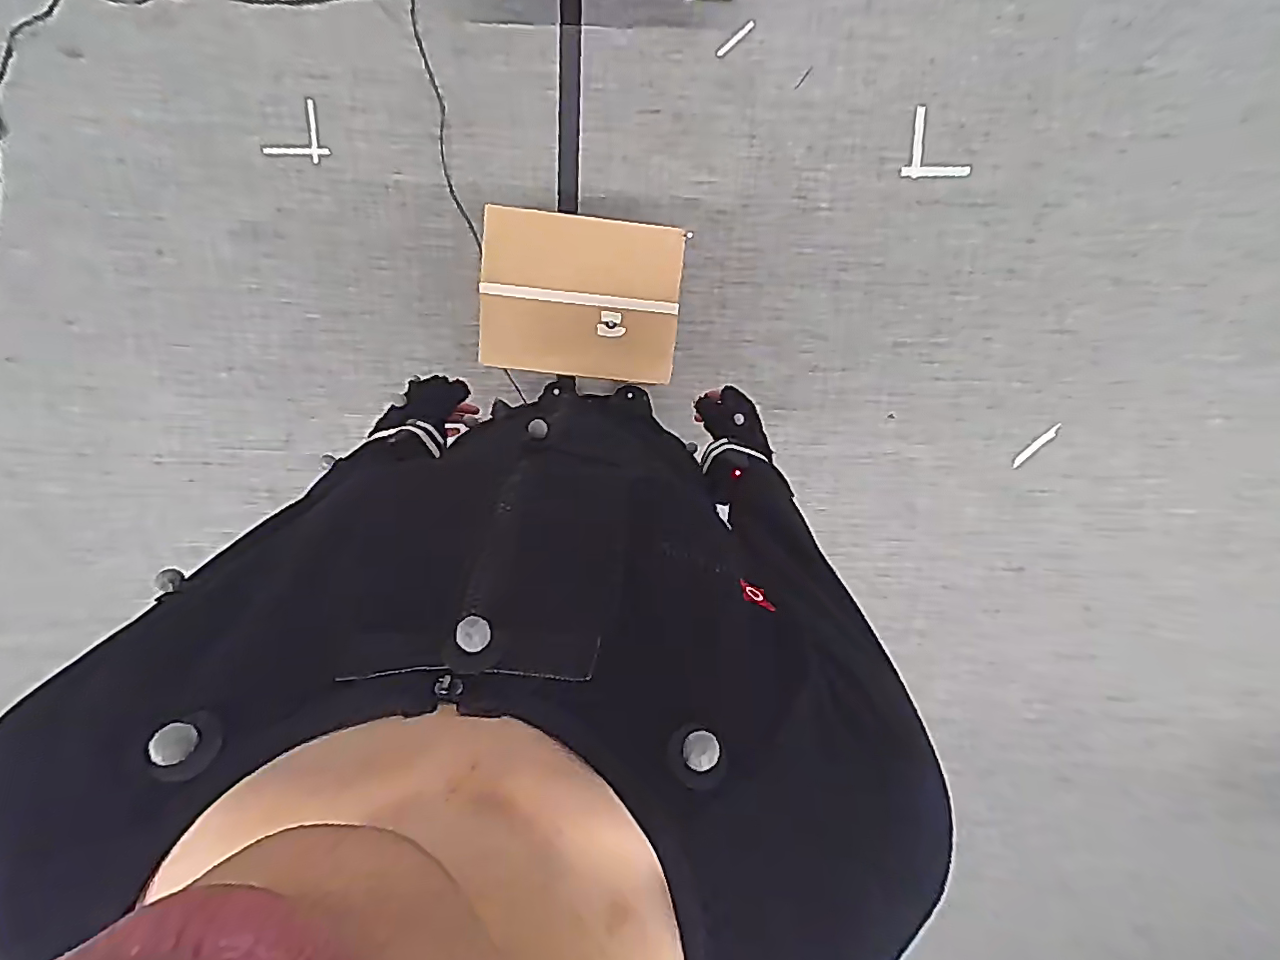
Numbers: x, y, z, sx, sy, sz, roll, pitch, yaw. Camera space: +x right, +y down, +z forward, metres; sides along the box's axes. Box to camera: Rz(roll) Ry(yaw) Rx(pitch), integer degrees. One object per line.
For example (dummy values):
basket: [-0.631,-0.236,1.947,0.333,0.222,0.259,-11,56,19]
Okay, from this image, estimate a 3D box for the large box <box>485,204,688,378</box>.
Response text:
large box: [-0.123,-0.408,1.248,0.408,0.320,0.320,5,102,-4]
